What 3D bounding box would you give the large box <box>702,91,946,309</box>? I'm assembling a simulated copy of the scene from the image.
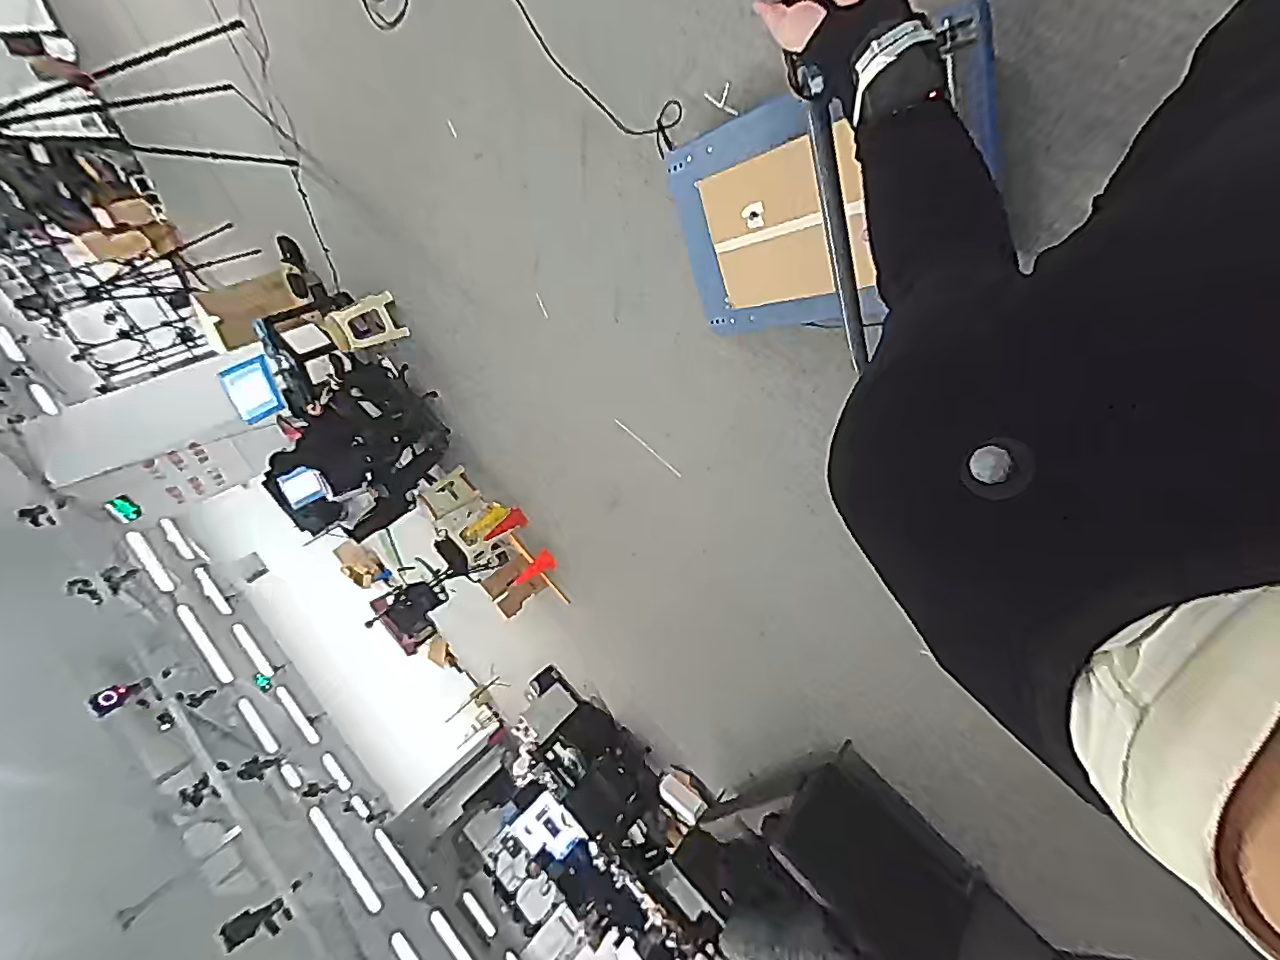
[{"bbox_3d":[0.425,-0.626,1.255,0.408,0.320,0.320,9,127,49],"label":"large box"}]
